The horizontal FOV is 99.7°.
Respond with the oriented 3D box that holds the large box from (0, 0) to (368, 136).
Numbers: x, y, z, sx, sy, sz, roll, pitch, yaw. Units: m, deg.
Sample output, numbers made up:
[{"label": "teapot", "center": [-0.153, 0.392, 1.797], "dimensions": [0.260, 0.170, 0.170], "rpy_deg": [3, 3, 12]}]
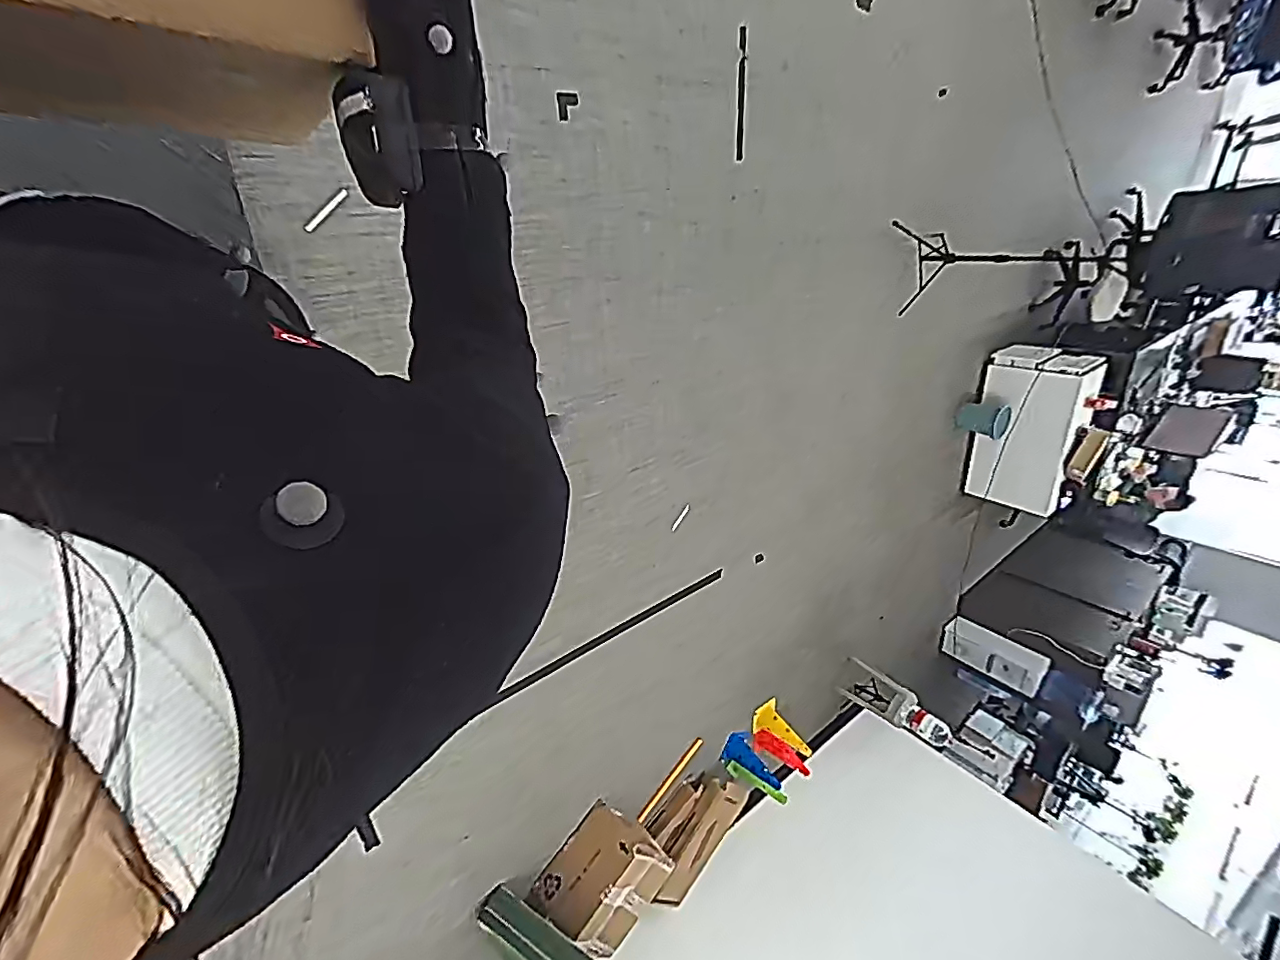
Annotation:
[{"label": "large box", "center": [-0.412, -0.390, 0.264], "dimensions": [0.408, 0.320, 0.320], "rpy_deg": [-17, 119, -35]}]
